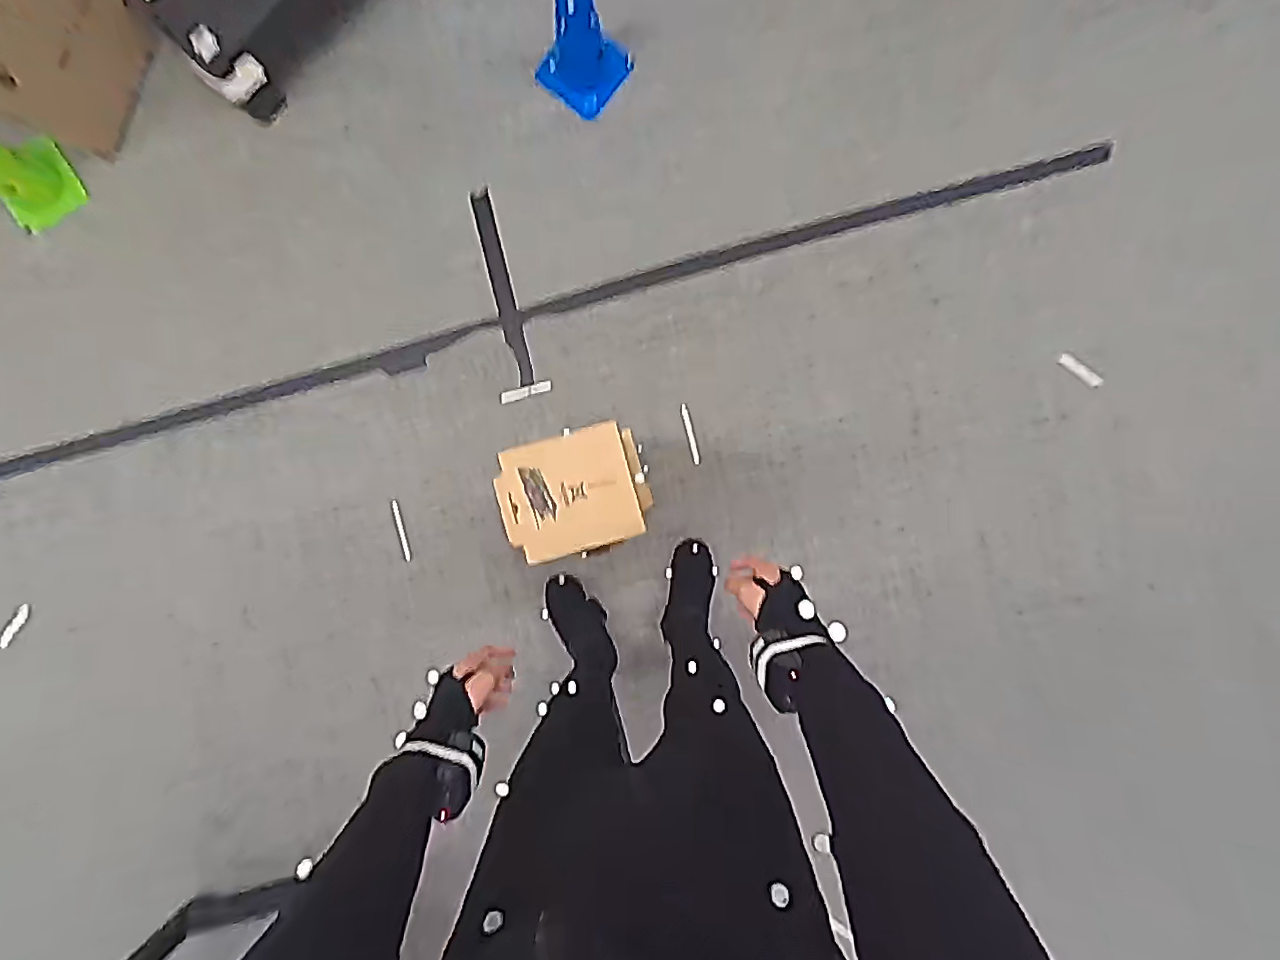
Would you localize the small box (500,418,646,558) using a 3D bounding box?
[{"bbox_3d":[-0.092,0.012,0.834,0.179,0.176,0.168,-15,91,0],"label":"small box"}]

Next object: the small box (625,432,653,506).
[{"bbox_3d":[-0.067,-0.008,1.327,0.168,0.176,0.179,-18,90,2],"label":"small box"}]
